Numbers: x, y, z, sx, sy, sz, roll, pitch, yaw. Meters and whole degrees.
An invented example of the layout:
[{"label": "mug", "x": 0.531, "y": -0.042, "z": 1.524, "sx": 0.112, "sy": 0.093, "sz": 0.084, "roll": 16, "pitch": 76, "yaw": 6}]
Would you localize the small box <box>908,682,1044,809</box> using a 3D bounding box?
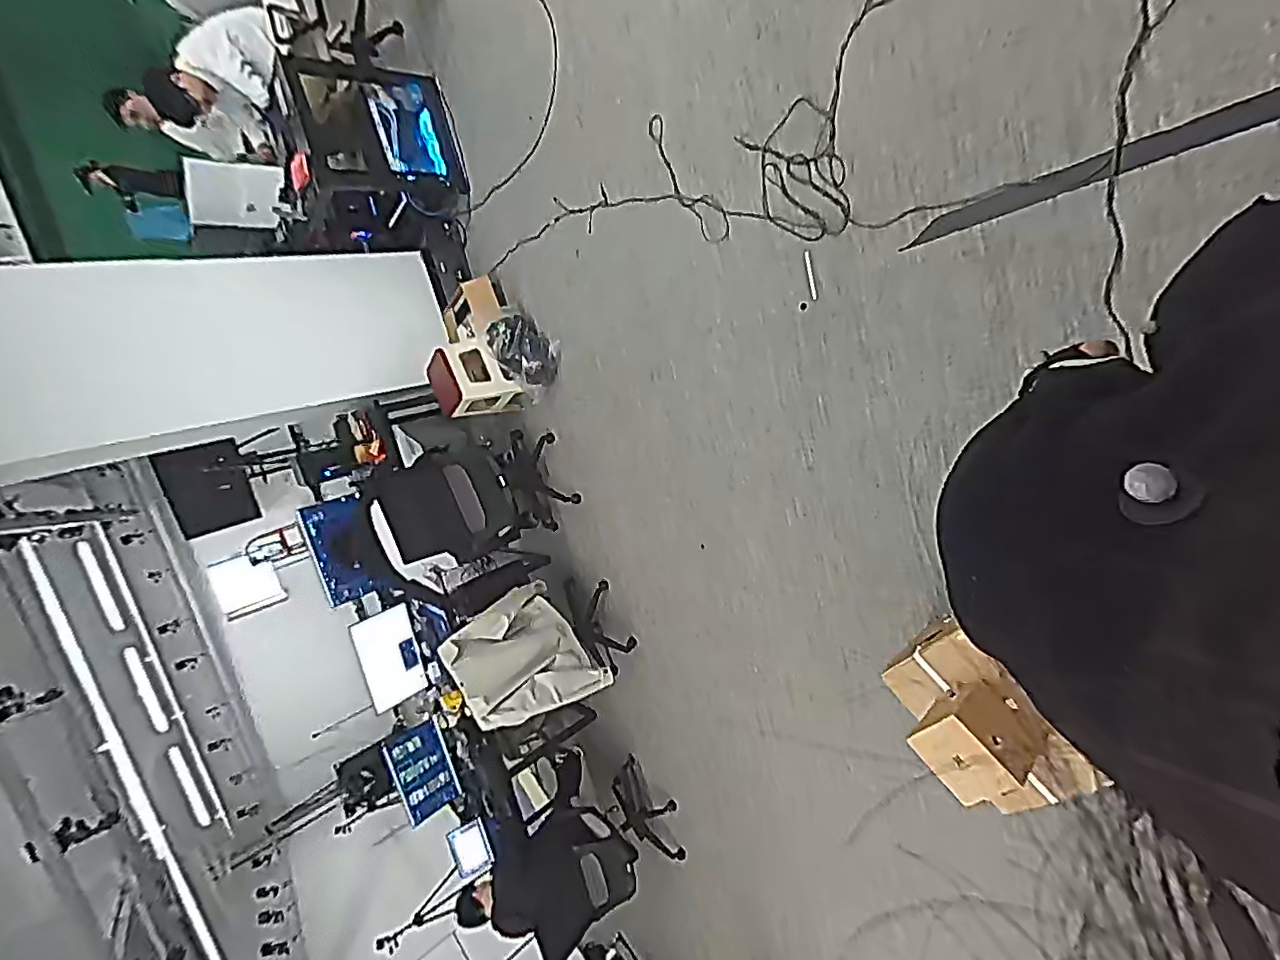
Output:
[{"label": "small box", "x": 0.767, "y": 0.600, "z": 1.232, "sx": 0.179, "sy": 0.176, "sz": 0.168, "roll": 50, "pitch": 138, "yaw": 25}]
